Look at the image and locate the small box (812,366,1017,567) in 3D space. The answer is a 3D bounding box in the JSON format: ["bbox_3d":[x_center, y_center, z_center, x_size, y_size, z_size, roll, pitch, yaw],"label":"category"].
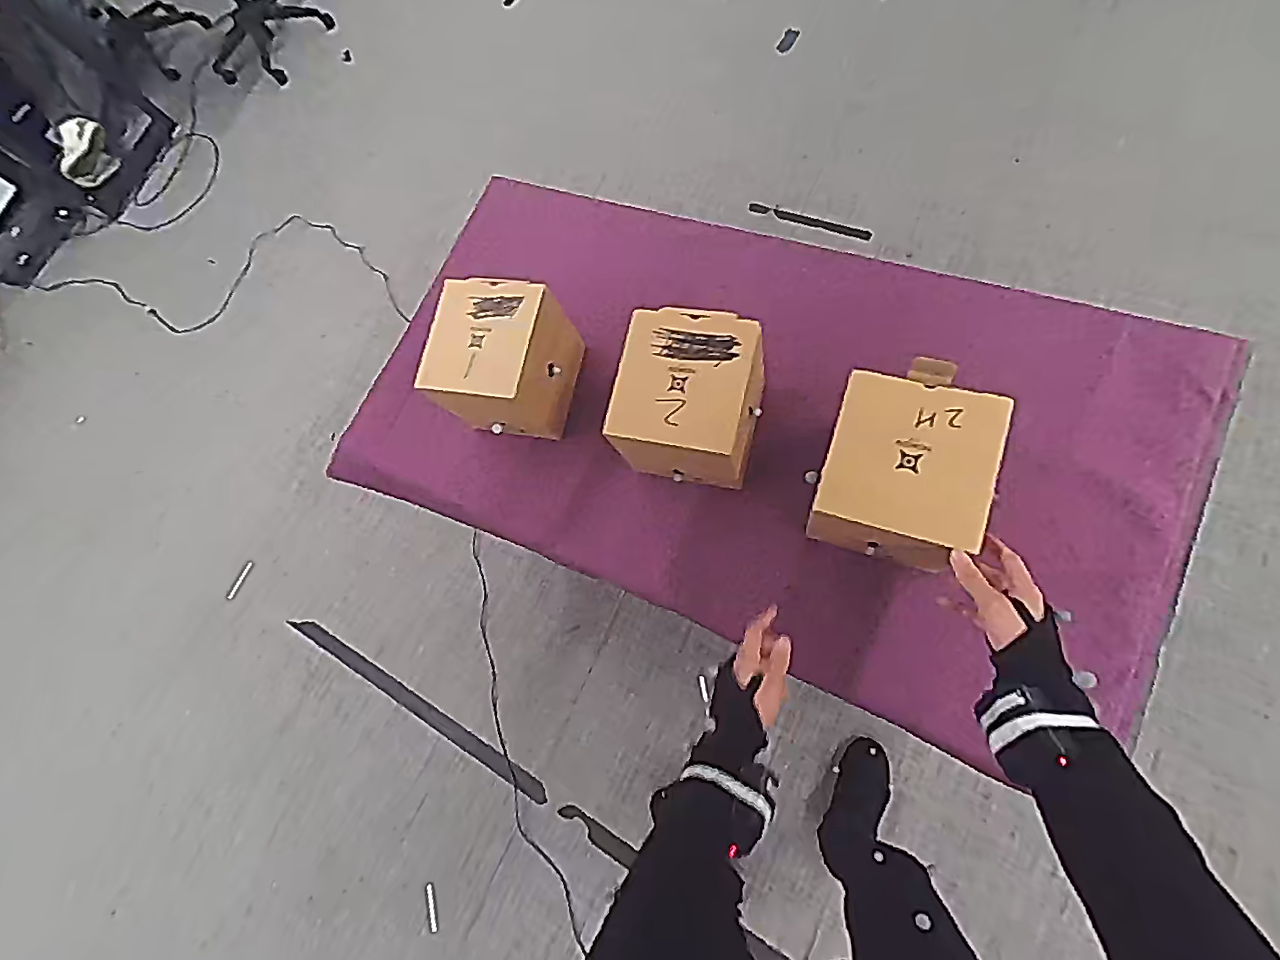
[{"bbox_3d":[0.308,-0.006,0.642,0.168,0.176,0.179,16,79,18],"label":"small box"}]

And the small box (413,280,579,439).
[{"bbox_3d":[-0.206,-0.179,0.829,0.168,0.176,0.179,8,77,17],"label":"small box"}]
